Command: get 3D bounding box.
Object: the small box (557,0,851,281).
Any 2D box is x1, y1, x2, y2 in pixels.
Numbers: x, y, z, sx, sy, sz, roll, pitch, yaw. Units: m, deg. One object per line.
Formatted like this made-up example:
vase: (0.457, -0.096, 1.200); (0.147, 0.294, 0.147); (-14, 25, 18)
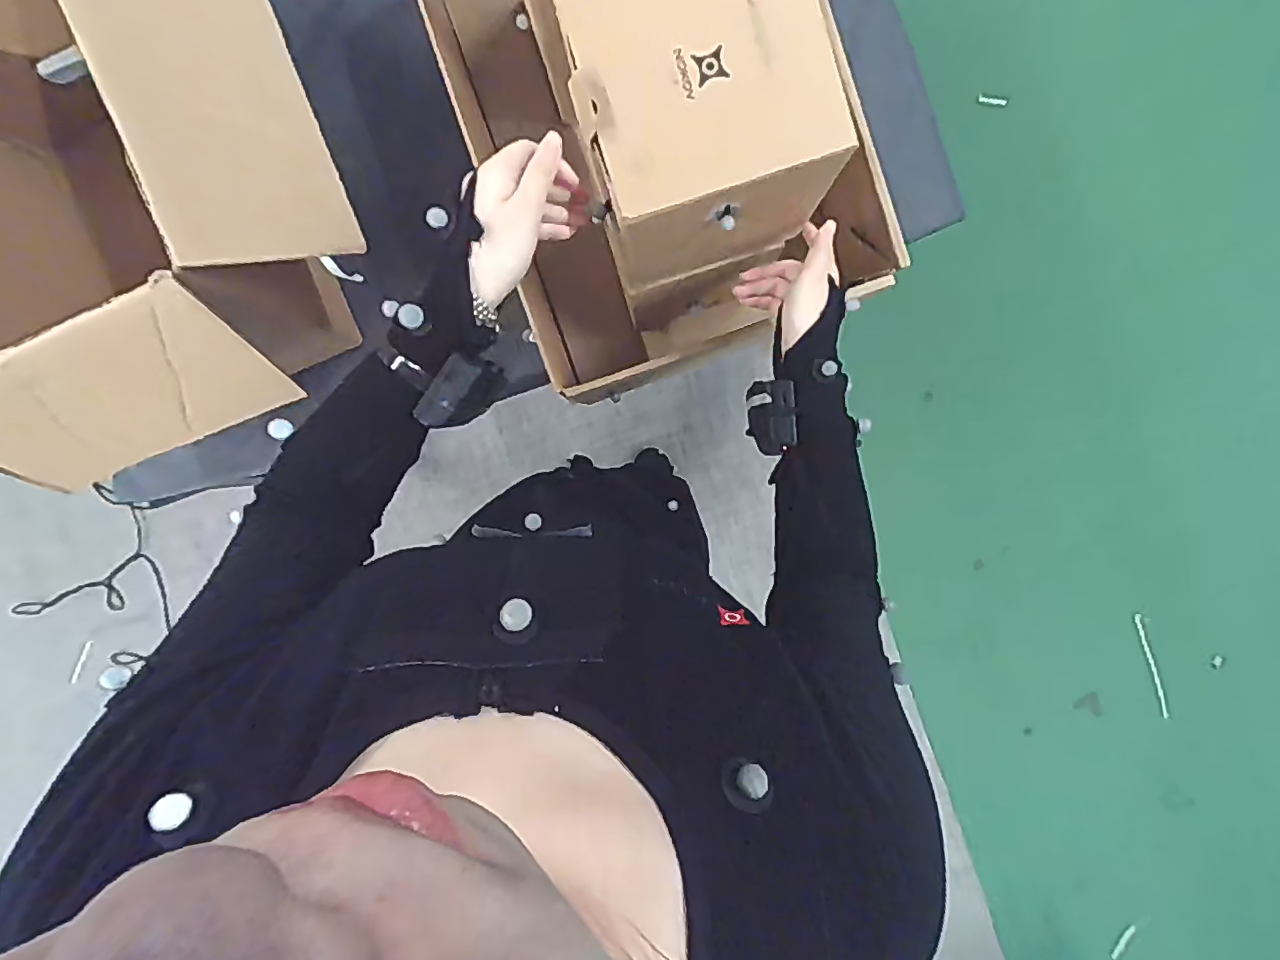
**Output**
small box: (0.048, -0.291, 0.461); (0.179, 0.176, 0.168); (-17, 94, 2)
